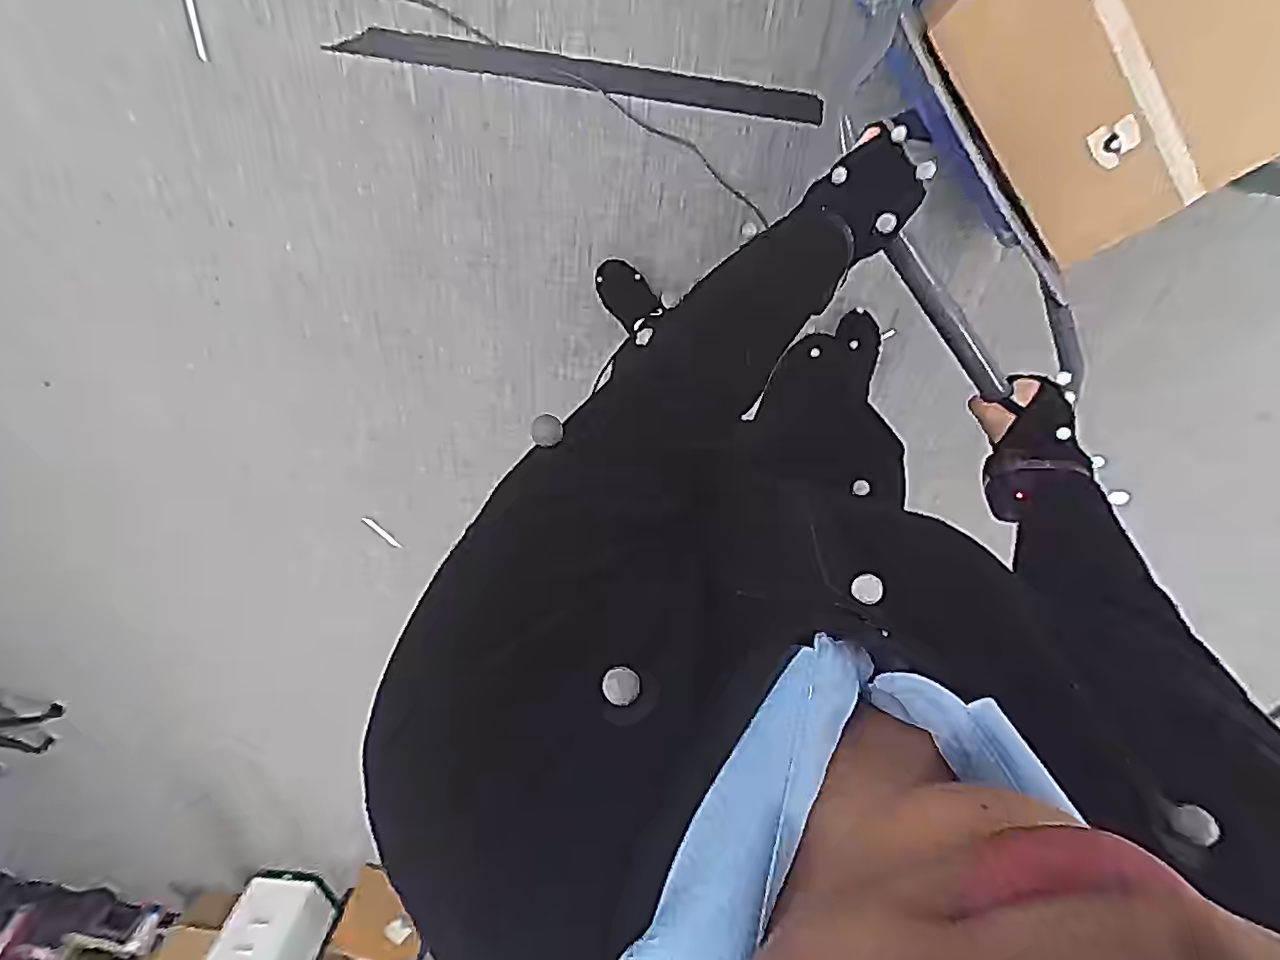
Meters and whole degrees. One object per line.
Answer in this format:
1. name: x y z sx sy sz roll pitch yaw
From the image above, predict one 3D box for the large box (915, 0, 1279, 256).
1. large box: 0.648 -0.624 0.768 0.408 0.320 0.320 42 136 -20
